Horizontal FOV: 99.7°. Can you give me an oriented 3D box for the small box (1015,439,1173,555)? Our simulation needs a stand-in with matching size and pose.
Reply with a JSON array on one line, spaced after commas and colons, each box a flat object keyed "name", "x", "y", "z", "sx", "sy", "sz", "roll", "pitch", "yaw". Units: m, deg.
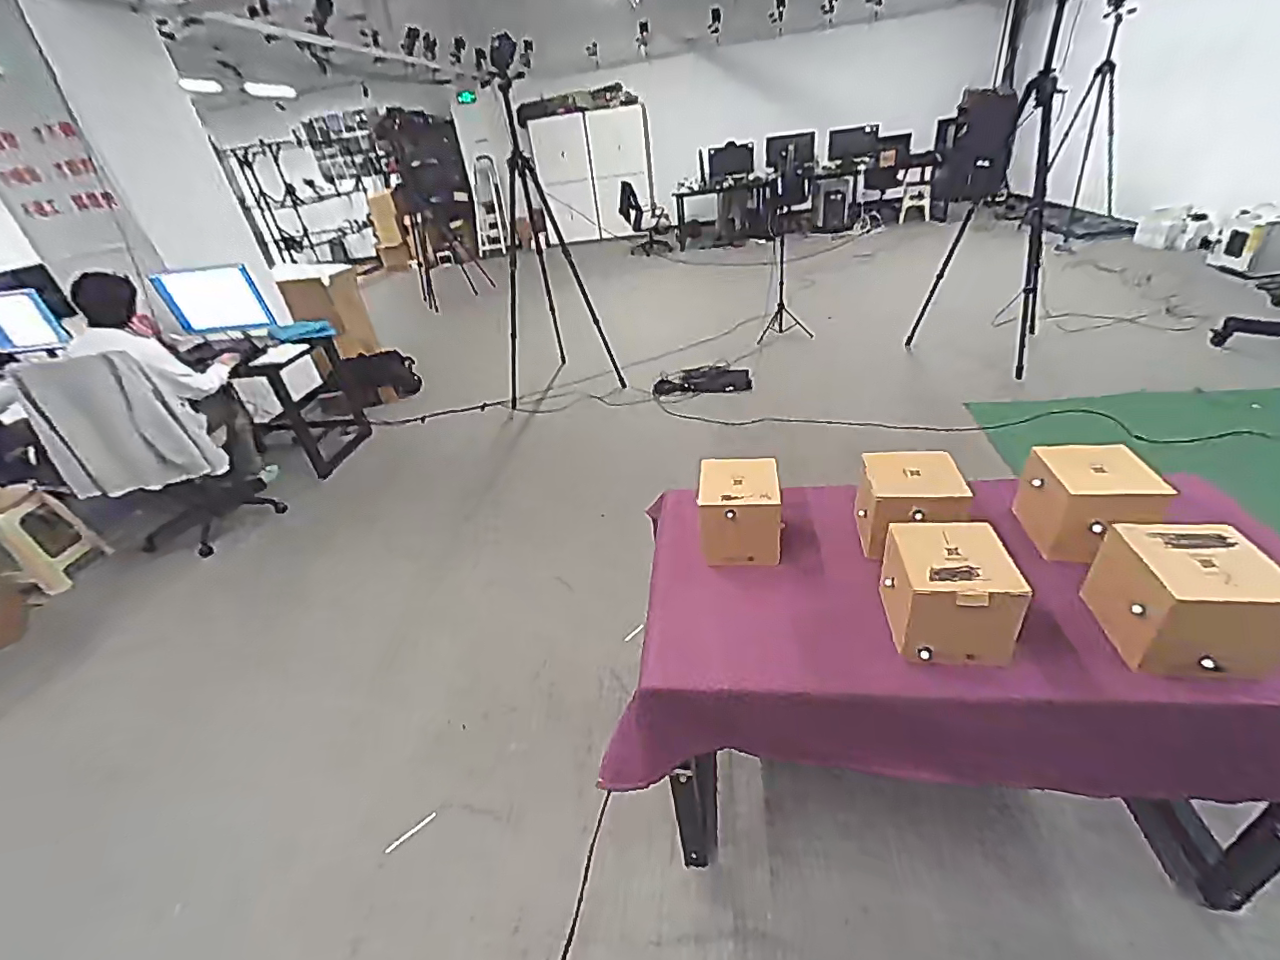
[{"name": "small box", "x": 0.882, "y": 0.035, "z": 1.071, "sx": 0.168, "sy": 0.176, "sz": 0.179, "roll": -1, "pitch": 33, "yaw": 13}]

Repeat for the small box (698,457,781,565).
[{"name": "small box", "x": 0.219, "y": 0.066, "z": 1.190, "sx": 0.168, "sy": 0.176, "sz": 0.179, "roll": -2, "pitch": 33, "yaw": 11}]

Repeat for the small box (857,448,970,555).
[{"name": "small box", "x": 0.560, "y": 0.048, "z": 1.134, "sx": 0.179, "sy": 0.176, "sz": 0.168, "roll": -1, "pitch": 34, "yaw": 12}]

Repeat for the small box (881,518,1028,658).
[{"name": "small box", "x": 0.524, "y": 0.185, "z": 0.929, "sx": 0.168, "sy": 0.176, "sz": 0.179, "roll": -2, "pitch": 32, "yaw": 11}]
